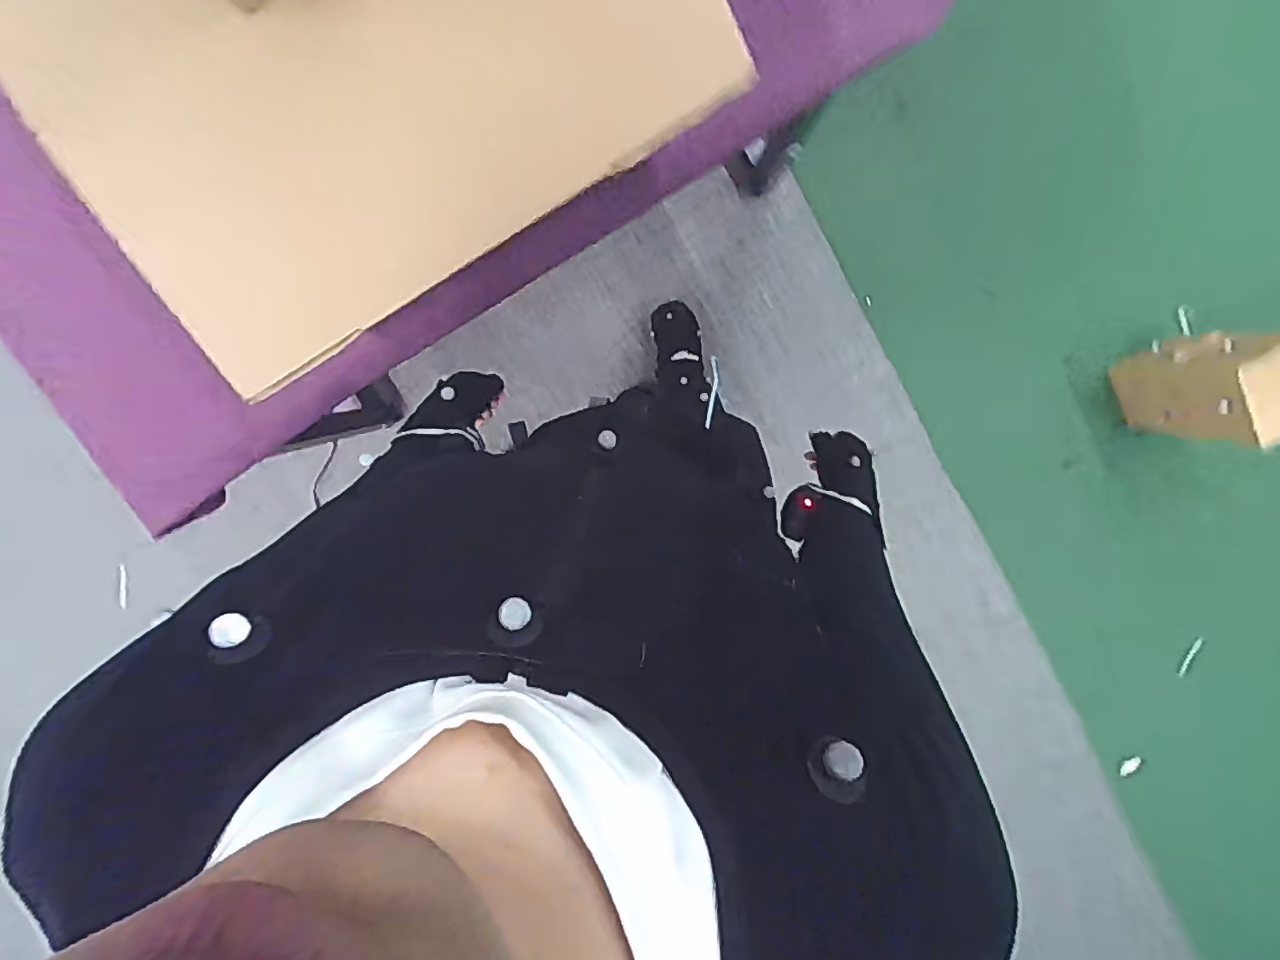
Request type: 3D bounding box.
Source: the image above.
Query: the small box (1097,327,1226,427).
[{"bbox_3d":[1.271,-0.251,1.307,0.168,0.176,0.179,-29,101,8],"label":"small box"}]

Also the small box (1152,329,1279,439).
[{"bbox_3d":[1.260,-0.210,1.149,0.168,0.176,0.179,-28,100,8],"label":"small box"}]
